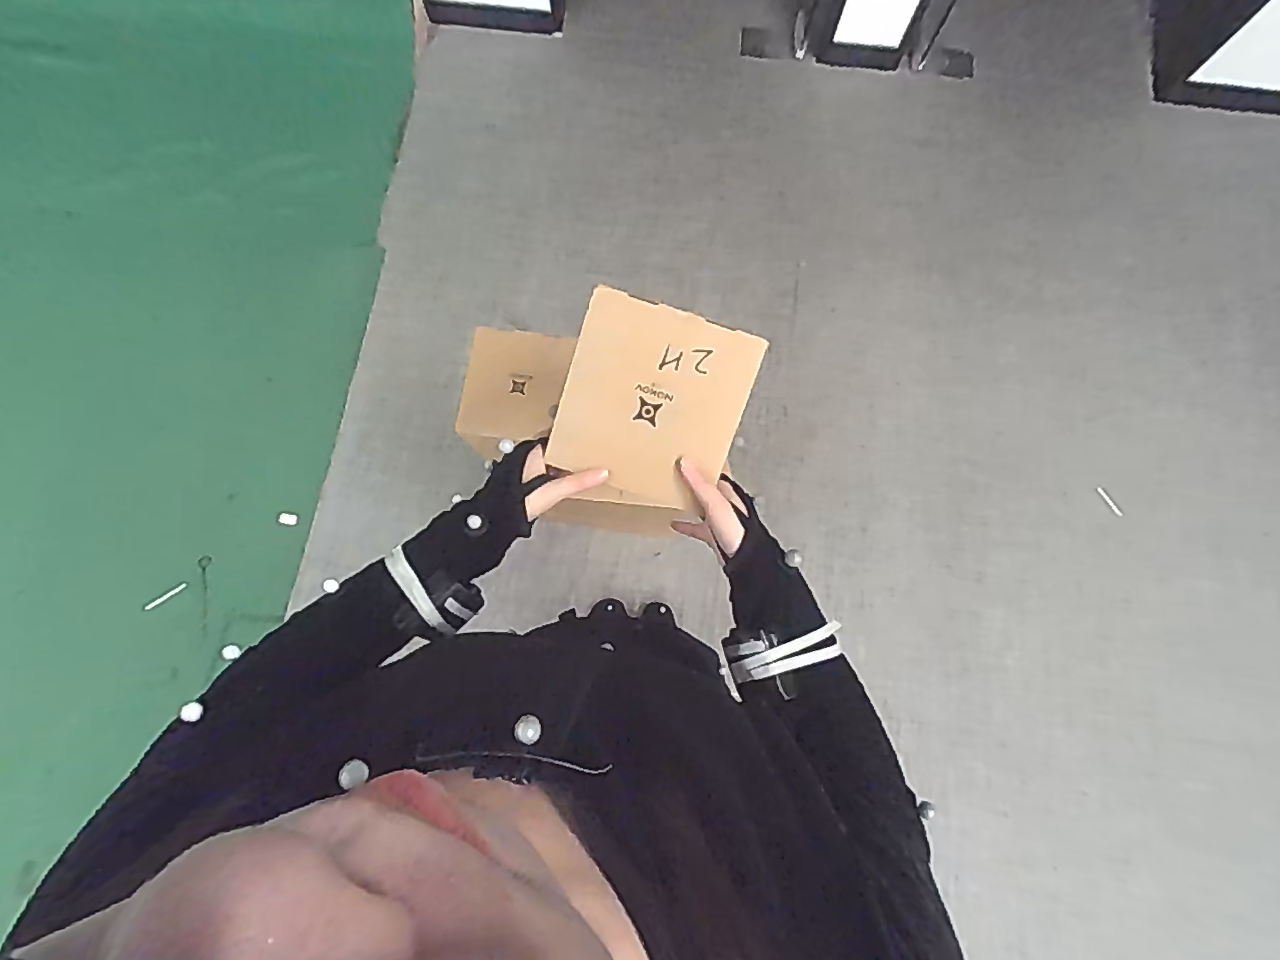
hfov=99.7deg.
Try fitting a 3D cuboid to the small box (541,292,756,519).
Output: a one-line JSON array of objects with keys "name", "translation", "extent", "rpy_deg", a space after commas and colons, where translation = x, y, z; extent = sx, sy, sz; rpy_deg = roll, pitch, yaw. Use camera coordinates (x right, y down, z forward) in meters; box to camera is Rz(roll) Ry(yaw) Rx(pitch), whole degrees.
[{"name": "small box", "translation": [0.013, -0.081, 0.592], "extent": [0.168, 0.176, 0.179], "rpy_deg": [20, 101, 1]}]

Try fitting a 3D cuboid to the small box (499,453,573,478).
[{"name": "small box", "translation": [-0.187, -0.114, 1.070], "extent": [0.168, 0.176, 0.179], "rpy_deg": [9, 80, 0]}]

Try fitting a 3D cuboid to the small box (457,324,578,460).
[{"name": "small box", "translation": [-0.187, -0.134, 0.908], "extent": [0.168, 0.176, 0.179], "rpy_deg": [8, 79, 0]}]
